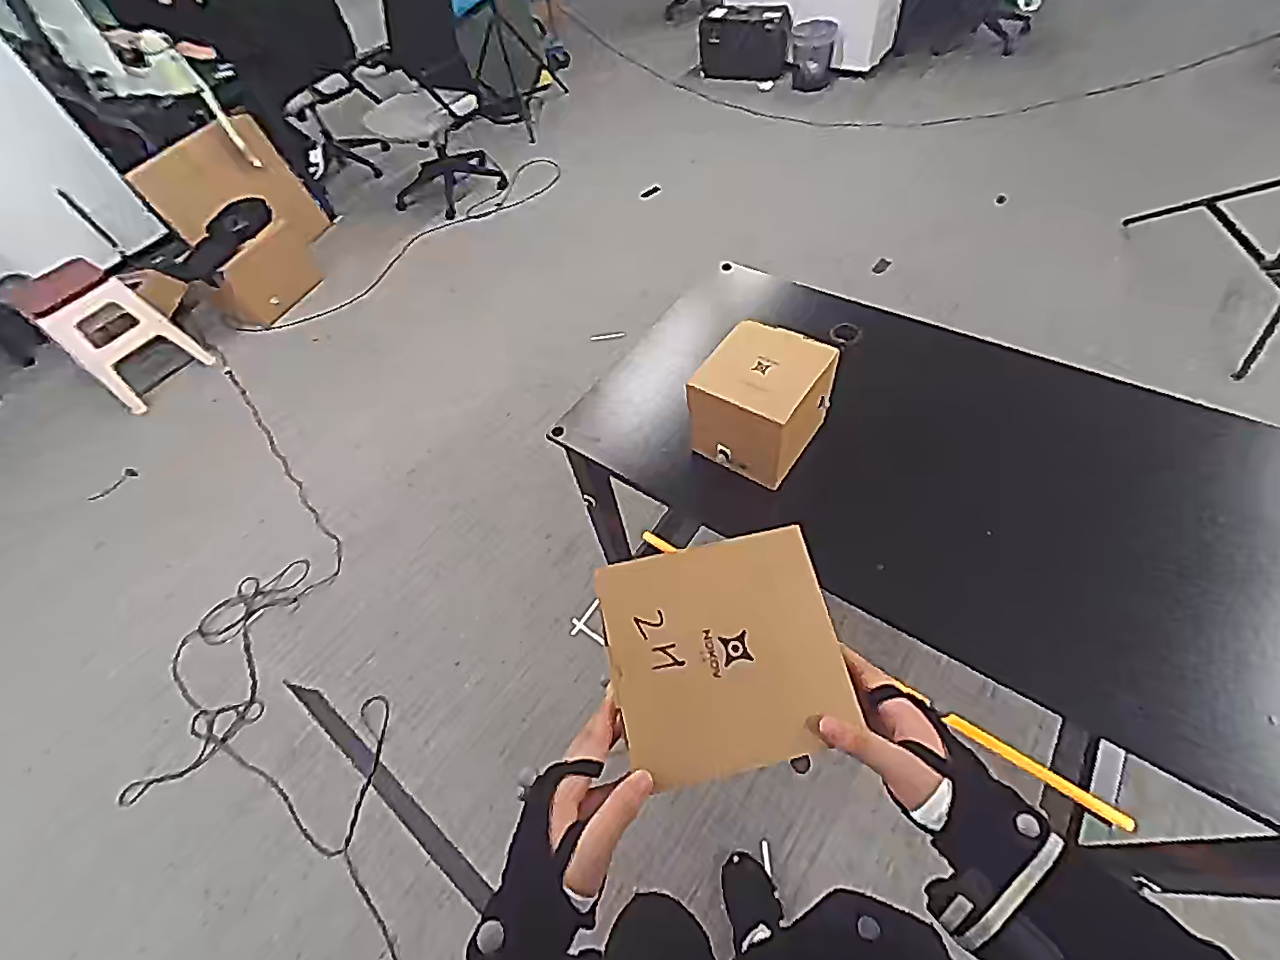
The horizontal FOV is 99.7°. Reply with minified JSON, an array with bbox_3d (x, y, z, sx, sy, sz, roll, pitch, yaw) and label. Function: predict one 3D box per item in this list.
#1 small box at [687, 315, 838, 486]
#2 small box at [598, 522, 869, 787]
[{"bbox_3d":[0.190,-0.125,0.864,0.168,0.176,0.179,28,64,25],"label":"small box"},{"bbox_3d":[0.064,0.150,0.481,0.179,0.176,0.168,-11,70,-4],"label":"small box"}]
